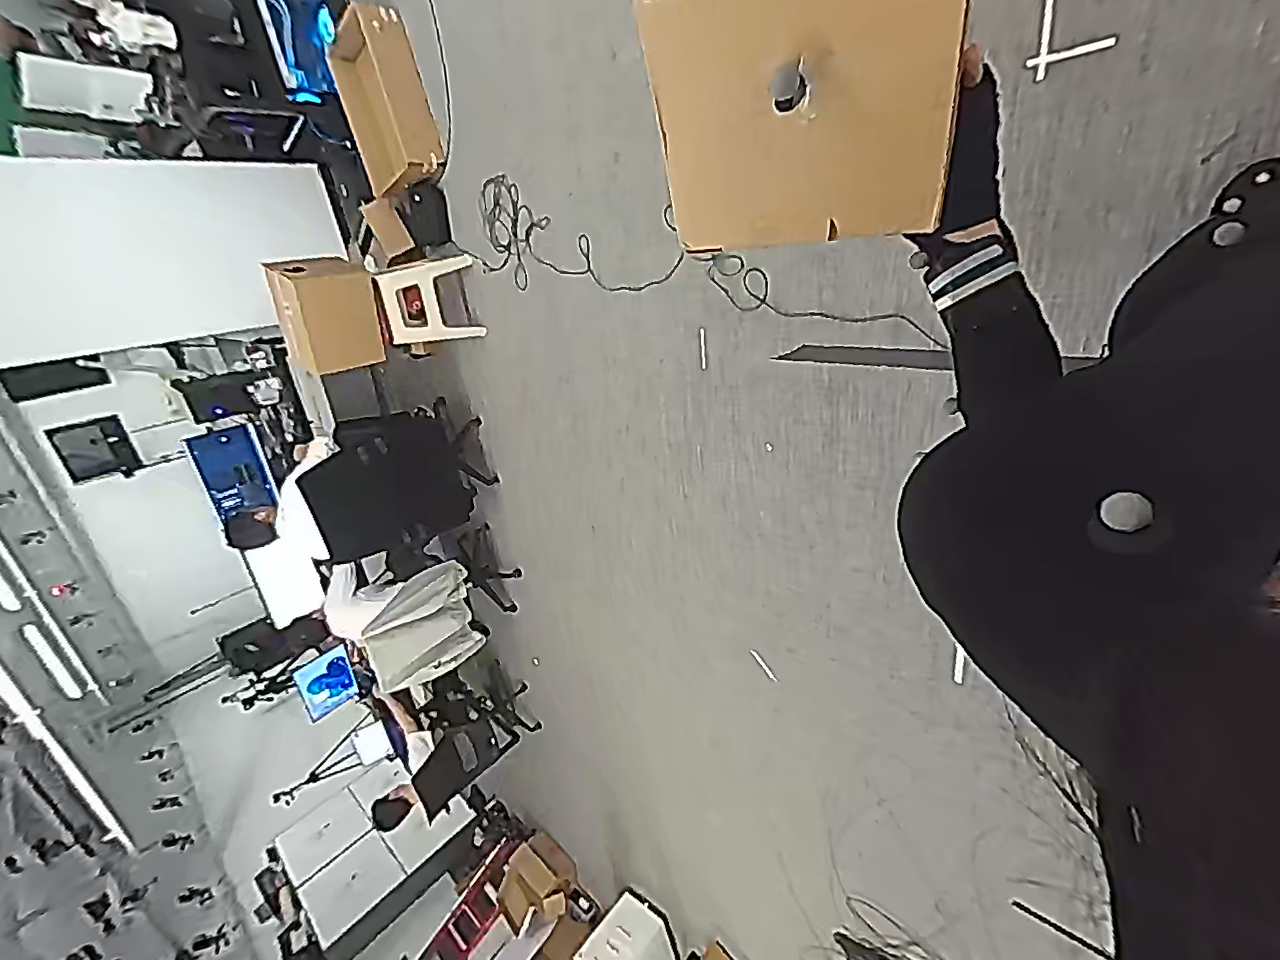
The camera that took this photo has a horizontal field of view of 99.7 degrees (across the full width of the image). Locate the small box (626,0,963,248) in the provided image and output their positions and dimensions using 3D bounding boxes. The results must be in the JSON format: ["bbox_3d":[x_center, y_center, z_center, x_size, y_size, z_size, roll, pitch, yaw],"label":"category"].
[{"bbox_3d":[0.105,-0.271,0.337,0.168,0.179,0.176,8,138,27],"label":"small box"}]
